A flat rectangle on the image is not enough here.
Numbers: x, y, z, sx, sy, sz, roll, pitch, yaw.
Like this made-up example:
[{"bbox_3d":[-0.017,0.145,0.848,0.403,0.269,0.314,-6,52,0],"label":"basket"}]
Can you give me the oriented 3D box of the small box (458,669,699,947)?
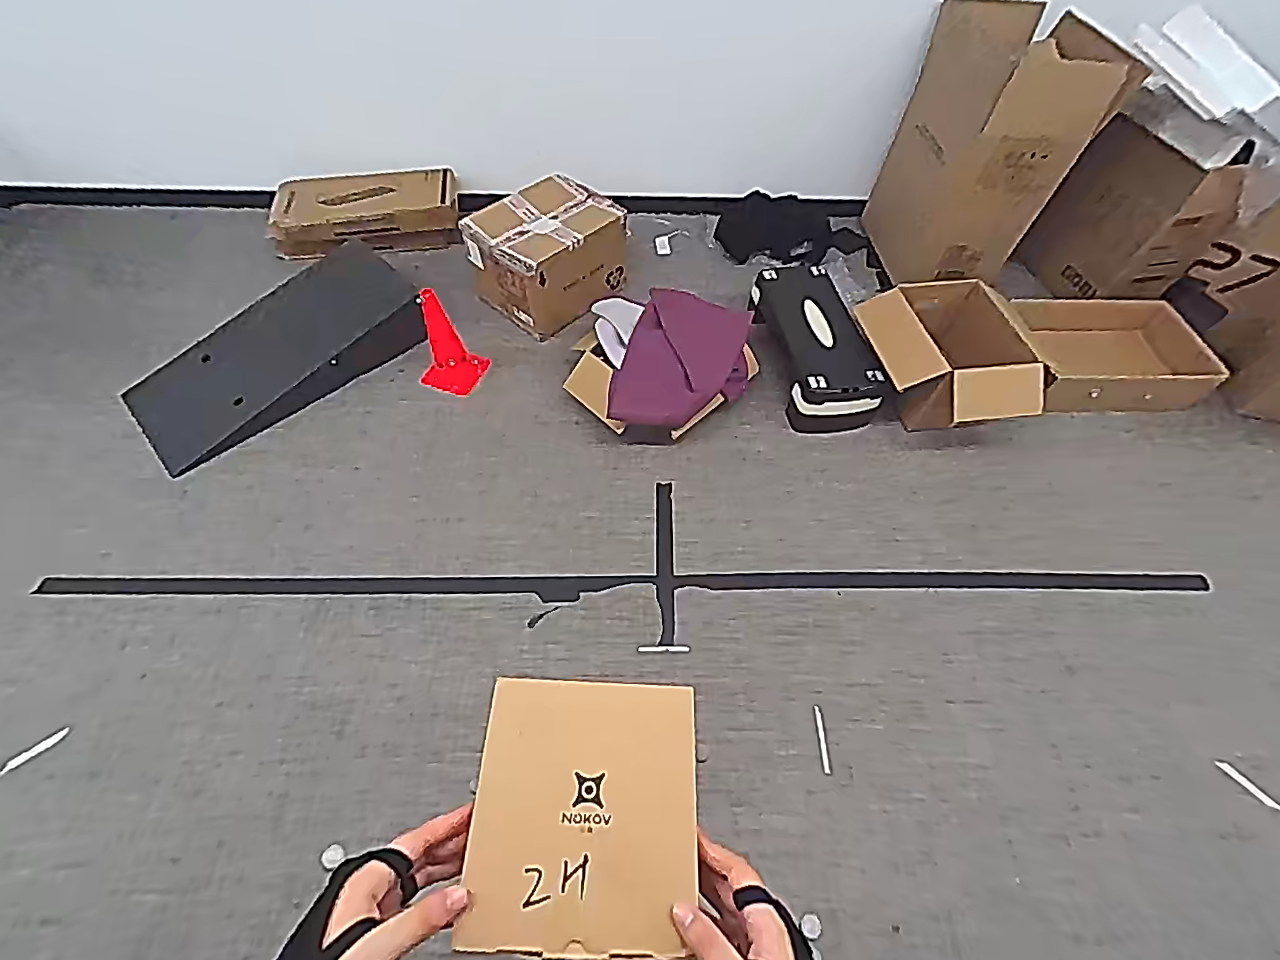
[{"bbox_3d":[-0.042,0.280,0.473,0.168,0.176,0.179,3,57,-1],"label":"small box"}]
